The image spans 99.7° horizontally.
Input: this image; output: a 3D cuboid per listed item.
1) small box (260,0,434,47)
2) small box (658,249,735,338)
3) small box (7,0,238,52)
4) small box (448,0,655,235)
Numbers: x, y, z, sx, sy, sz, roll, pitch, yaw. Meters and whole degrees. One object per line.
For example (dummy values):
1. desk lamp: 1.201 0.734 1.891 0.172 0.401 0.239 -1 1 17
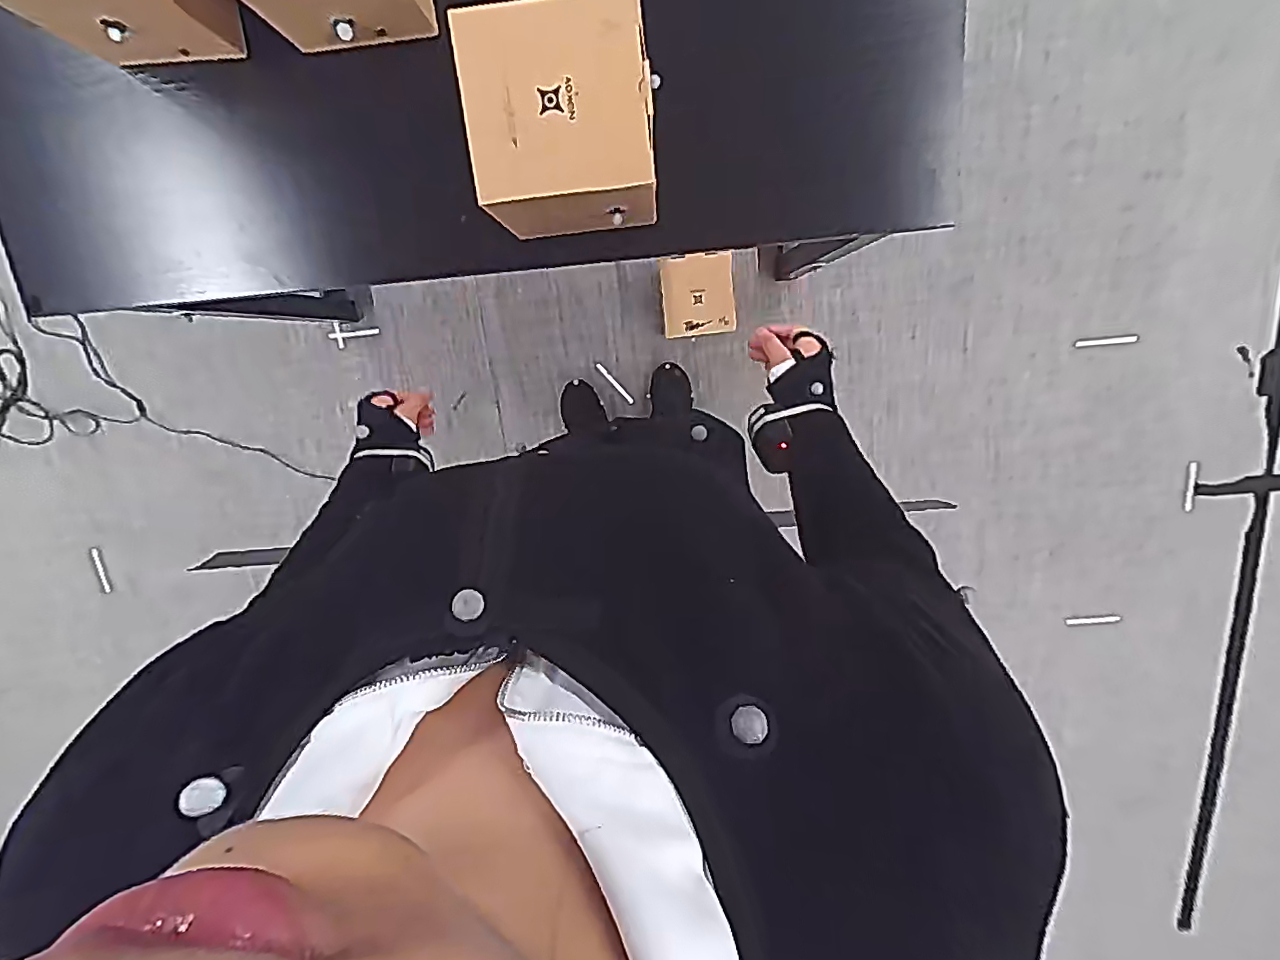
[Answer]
1. small box: -0.326 -0.578 0.533 0.168 0.176 0.179 -5 105 3
2. small box: 0.132 -0.443 1.307 0.168 0.176 0.179 -6 103 3
3. small box: -0.550 -0.563 0.541 0.168 0.176 0.179 -2 104 1
4. small box: -0.078 -0.375 0.580 0.179 0.176 0.168 -6 102 4
